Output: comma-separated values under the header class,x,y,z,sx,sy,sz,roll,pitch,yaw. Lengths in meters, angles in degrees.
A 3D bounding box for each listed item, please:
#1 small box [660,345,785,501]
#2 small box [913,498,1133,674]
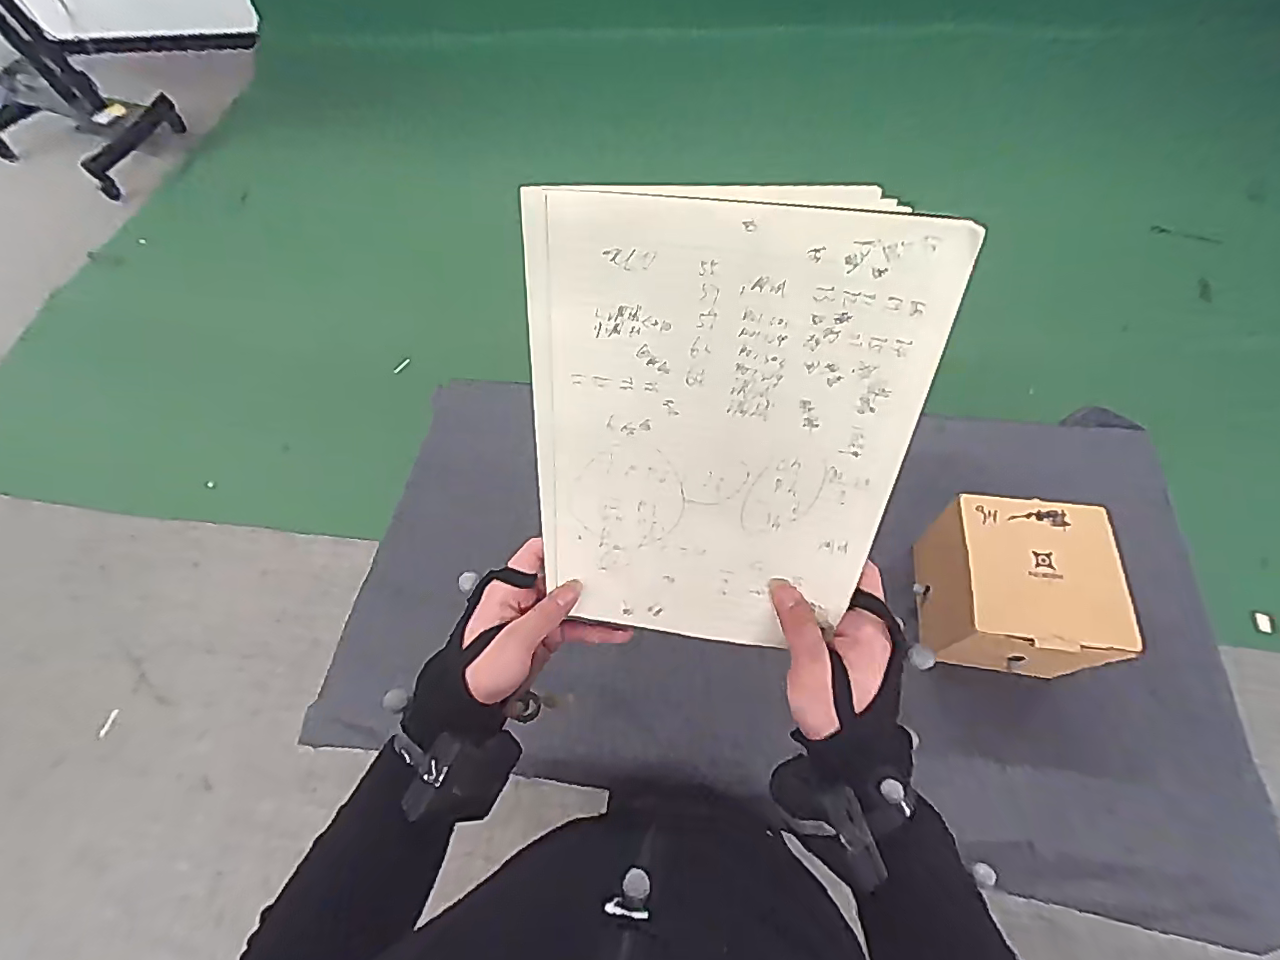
class,x,y,z,sx,sy,sz,roll,pitch,yaw
small box,0.125,-0.082,0.831,0.168,0.176,0.179,5,62,7
small box,0.469,0.143,0.696,0.168,0.176,0.179,6,64,8
